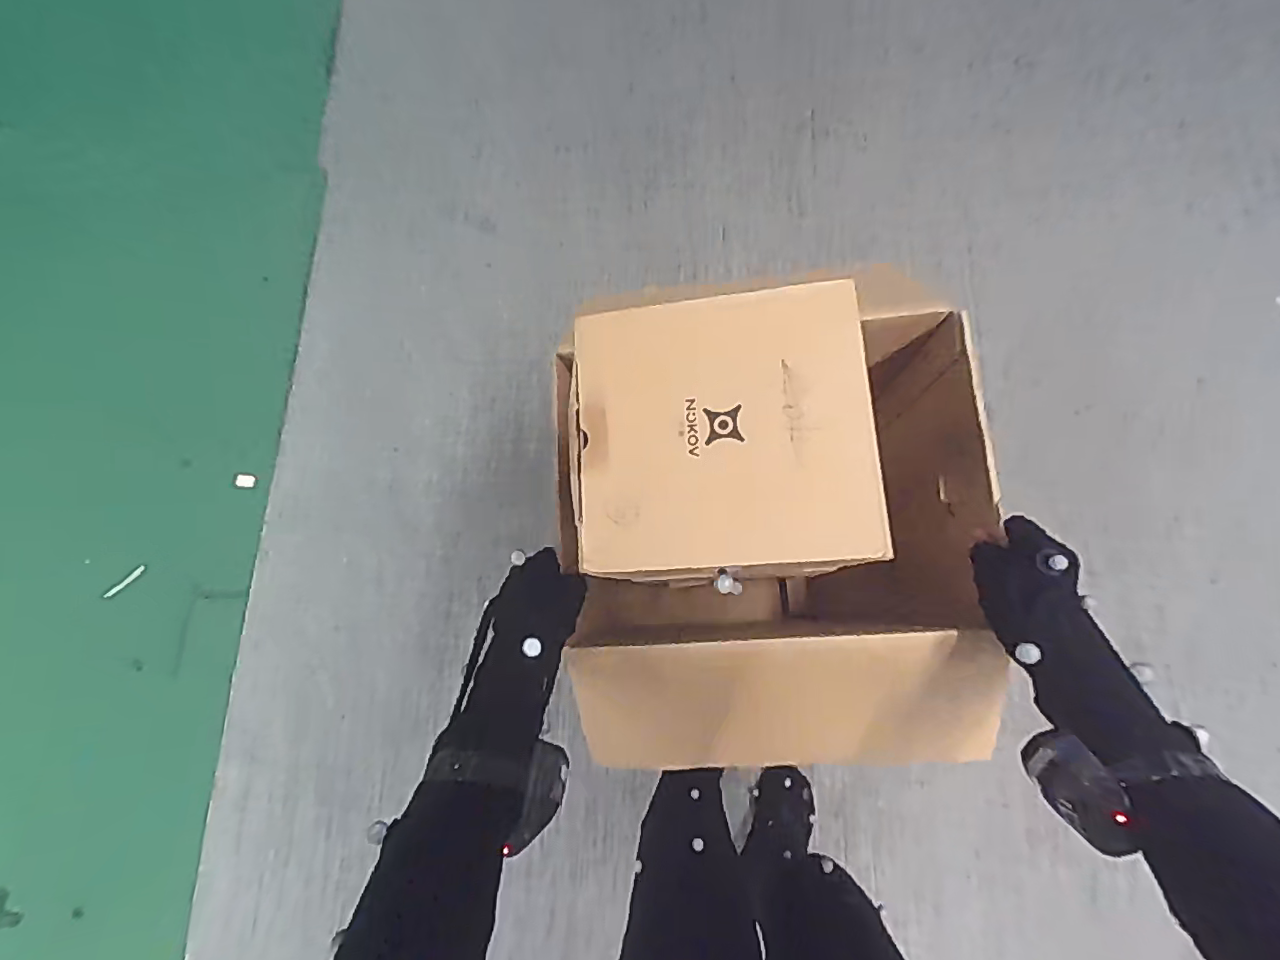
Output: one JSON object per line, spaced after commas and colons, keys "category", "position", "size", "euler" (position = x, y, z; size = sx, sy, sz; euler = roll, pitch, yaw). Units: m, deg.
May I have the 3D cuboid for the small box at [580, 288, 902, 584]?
{"category": "small box", "position": [0.065, -0.012, 0.397], "size": [0.179, 0.176, 0.168], "euler": [-6, 79, 8]}
